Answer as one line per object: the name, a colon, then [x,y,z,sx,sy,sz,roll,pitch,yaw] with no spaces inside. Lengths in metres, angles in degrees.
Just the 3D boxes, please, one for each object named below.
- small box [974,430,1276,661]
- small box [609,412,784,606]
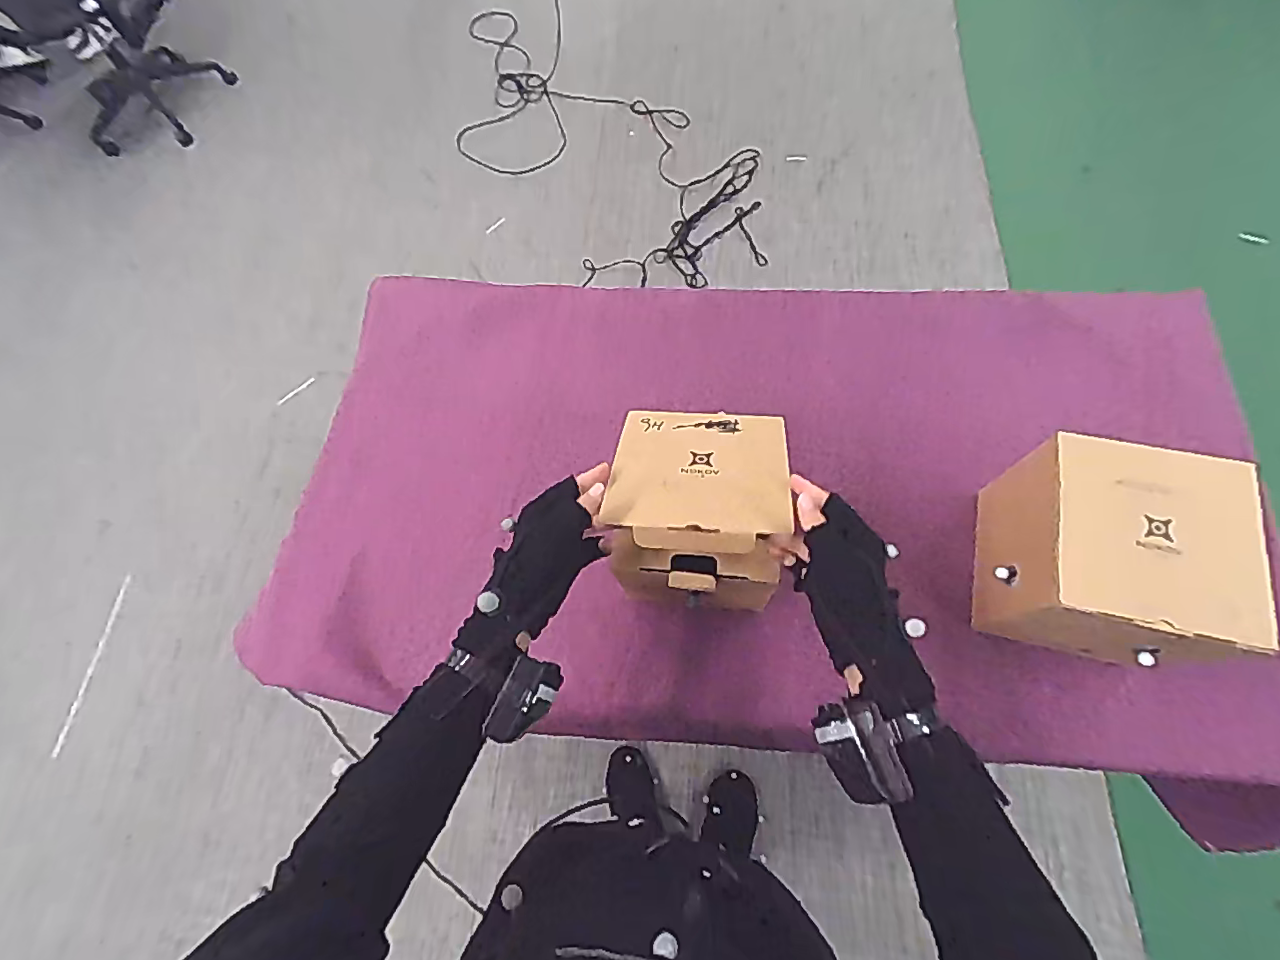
small box: [0.468,0.076,0.554,0.168,0.176,0.179,13,69,11]
small box: [0.068,0.041,0.615,0.168,0.176,0.179,4,69,8]
